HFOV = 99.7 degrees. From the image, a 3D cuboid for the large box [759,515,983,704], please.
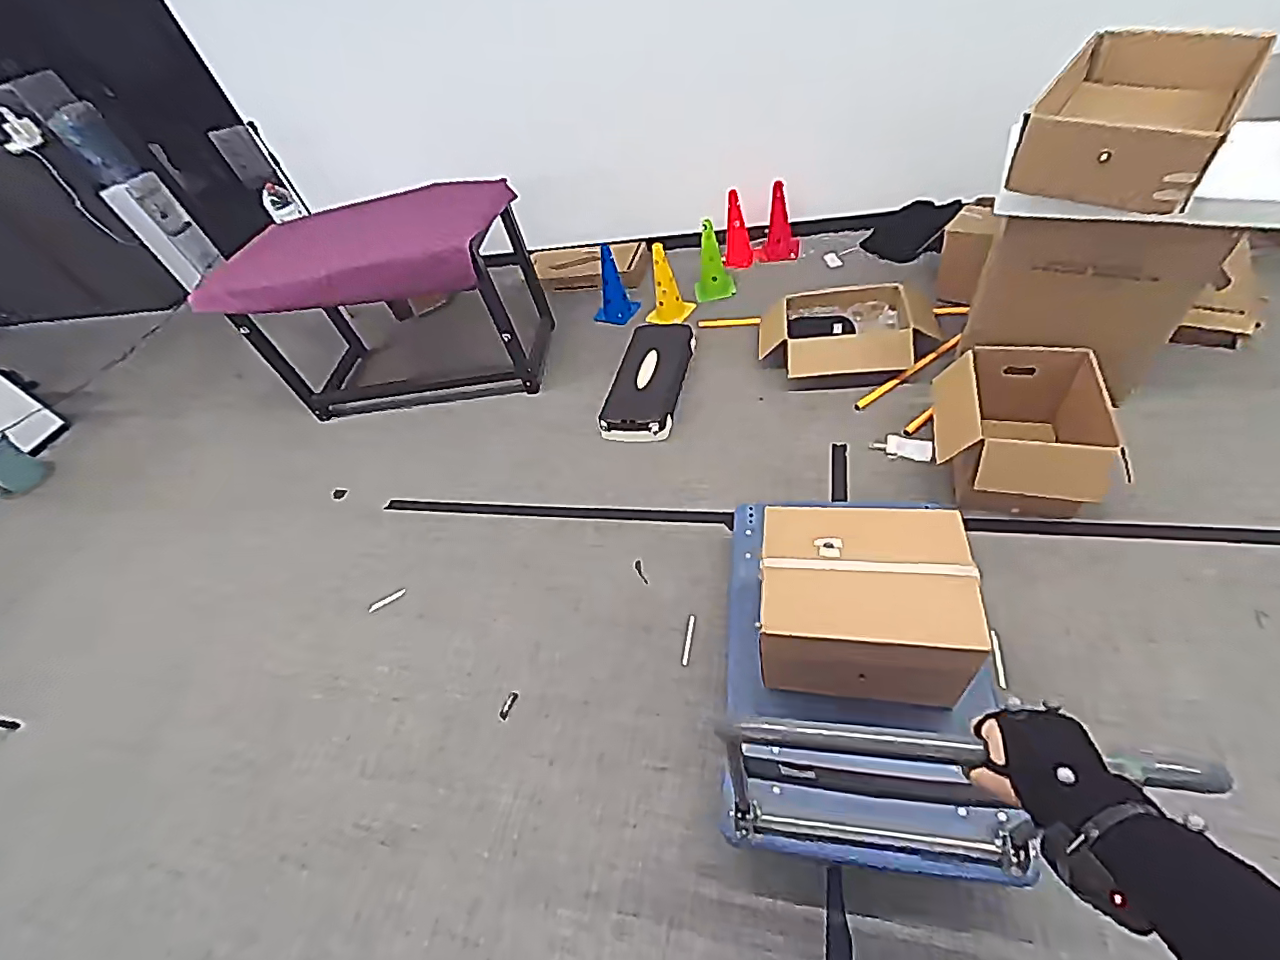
[{"bbox_3d":[0.485,0.291,1.225,0.408,0.320,0.320,0,49,16],"label":"large box"}]
